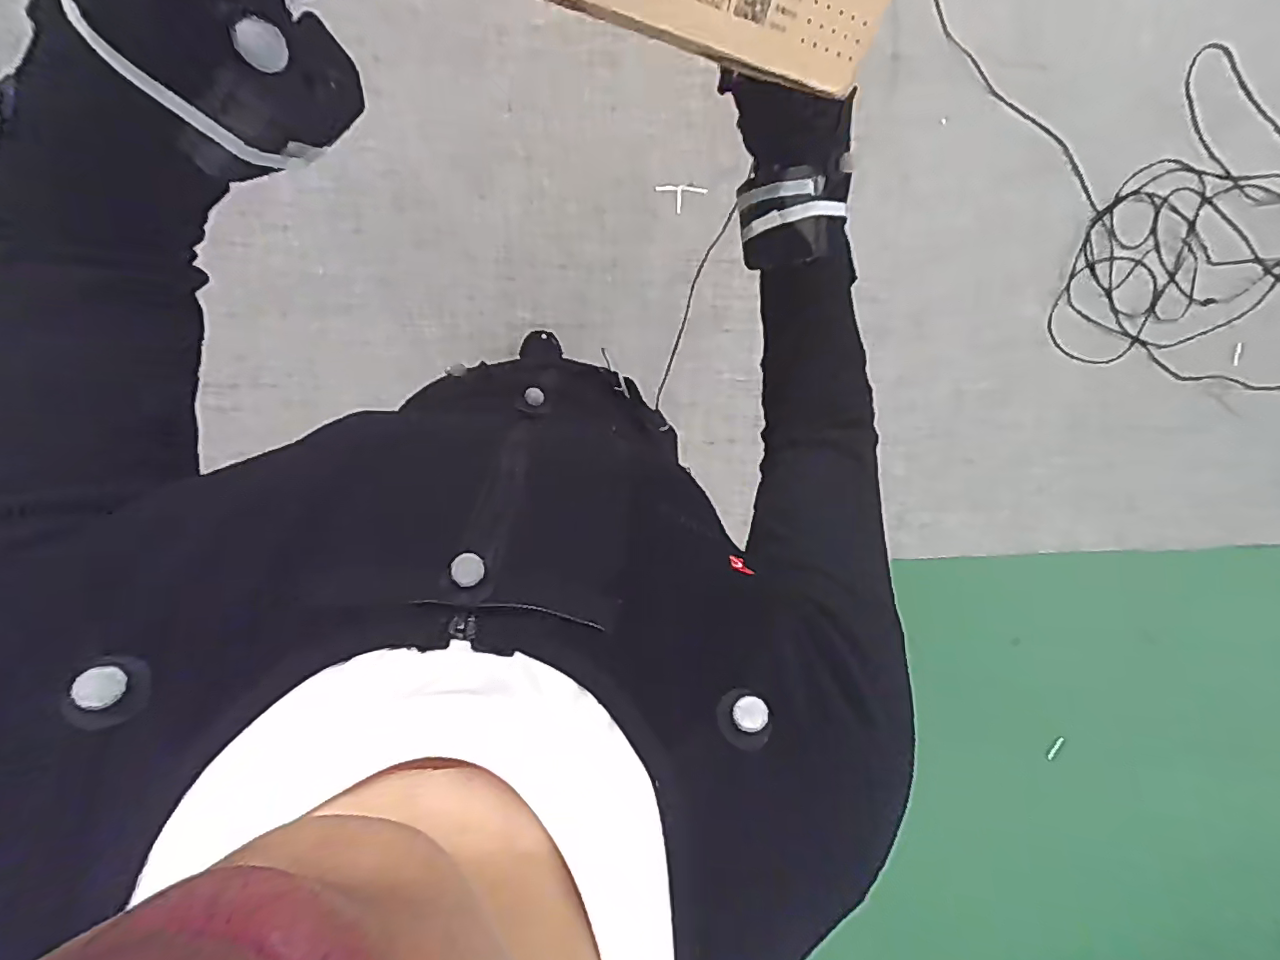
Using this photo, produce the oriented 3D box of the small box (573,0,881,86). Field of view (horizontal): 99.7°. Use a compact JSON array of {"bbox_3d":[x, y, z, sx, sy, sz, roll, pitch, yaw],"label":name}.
[{"bbox_3d":[0.030,-0.309,0.245,0.168,0.179,0.176,5,130,-19],"label":"small box"}]
